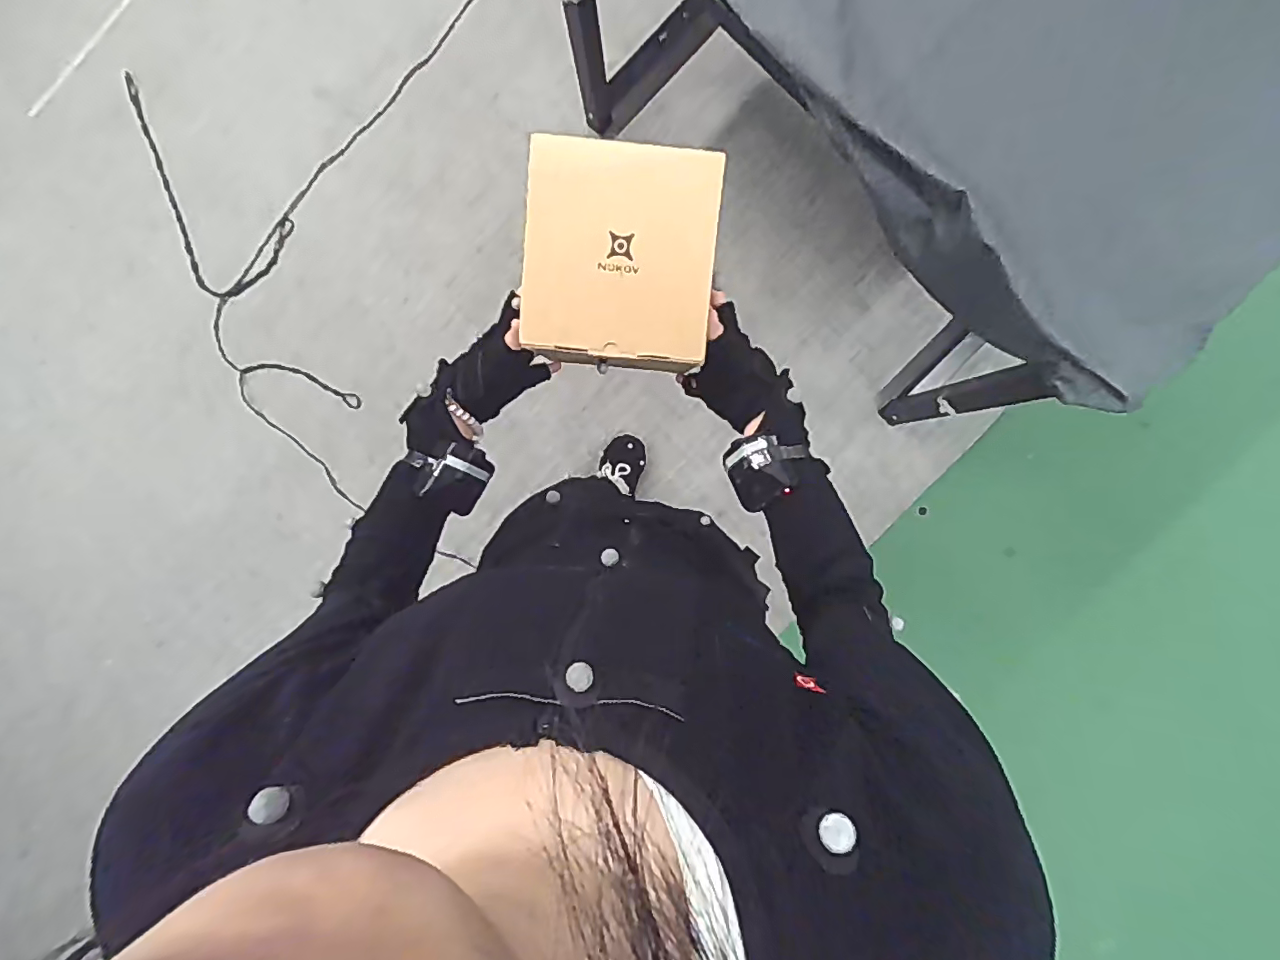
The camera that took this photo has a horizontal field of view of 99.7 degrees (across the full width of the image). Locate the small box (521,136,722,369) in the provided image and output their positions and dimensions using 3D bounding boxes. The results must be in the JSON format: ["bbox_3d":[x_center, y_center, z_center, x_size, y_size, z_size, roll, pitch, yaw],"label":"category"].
[{"bbox_3d":[-0.021,-0.212,0.554,0.168,0.176,0.179,5,100,-3],"label":"small box"}]
